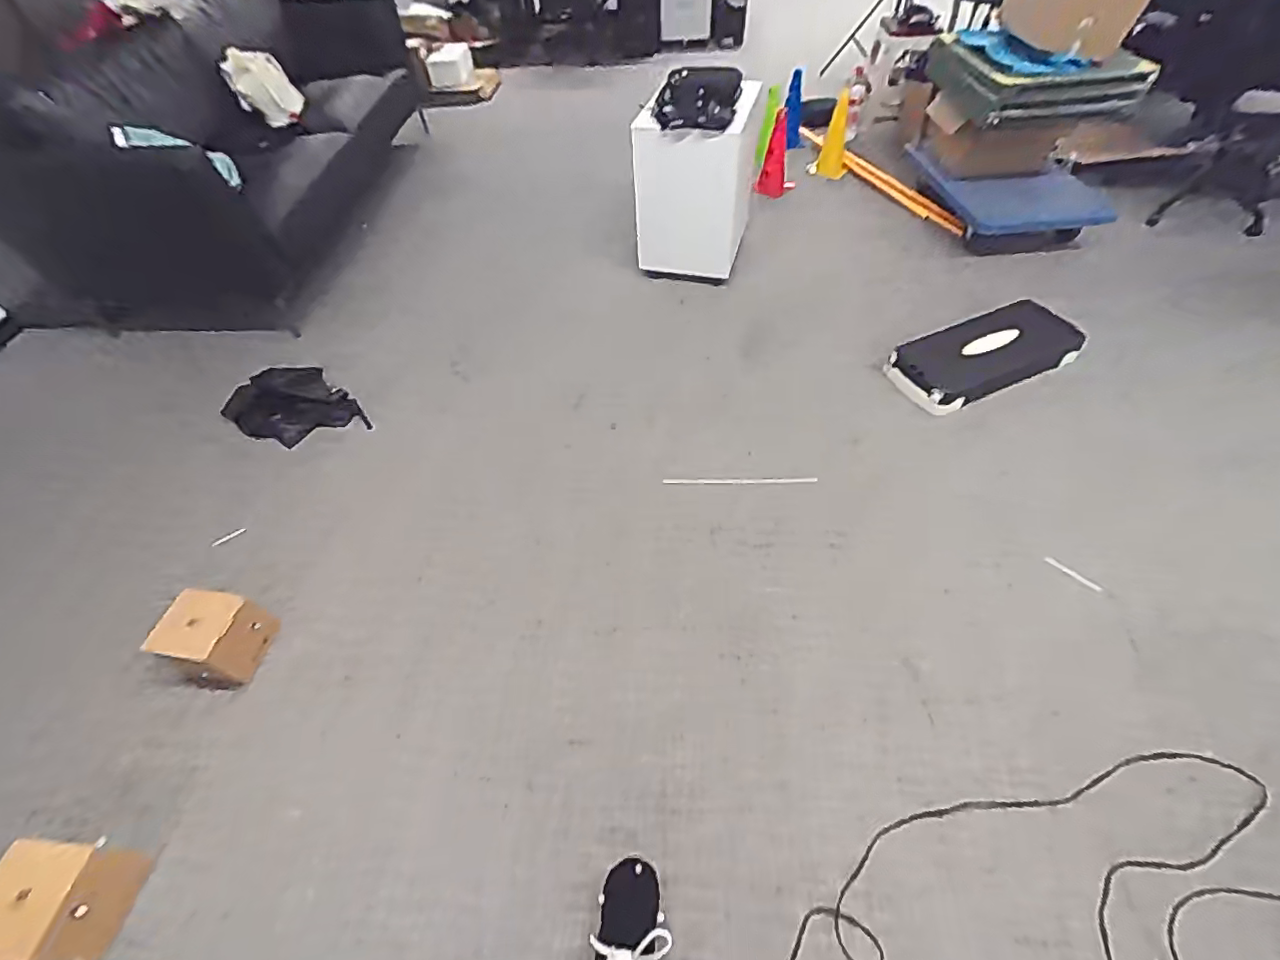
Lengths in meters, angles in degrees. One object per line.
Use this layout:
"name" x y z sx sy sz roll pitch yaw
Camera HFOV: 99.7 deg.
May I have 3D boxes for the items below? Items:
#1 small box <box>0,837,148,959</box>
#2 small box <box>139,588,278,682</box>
"small box" -1.109 0.802 1.032 0.168 0.176 0.179 2 52 5
"small box" -1.062 0.391 1.352 0.179 0.176 0.168 5 51 8
